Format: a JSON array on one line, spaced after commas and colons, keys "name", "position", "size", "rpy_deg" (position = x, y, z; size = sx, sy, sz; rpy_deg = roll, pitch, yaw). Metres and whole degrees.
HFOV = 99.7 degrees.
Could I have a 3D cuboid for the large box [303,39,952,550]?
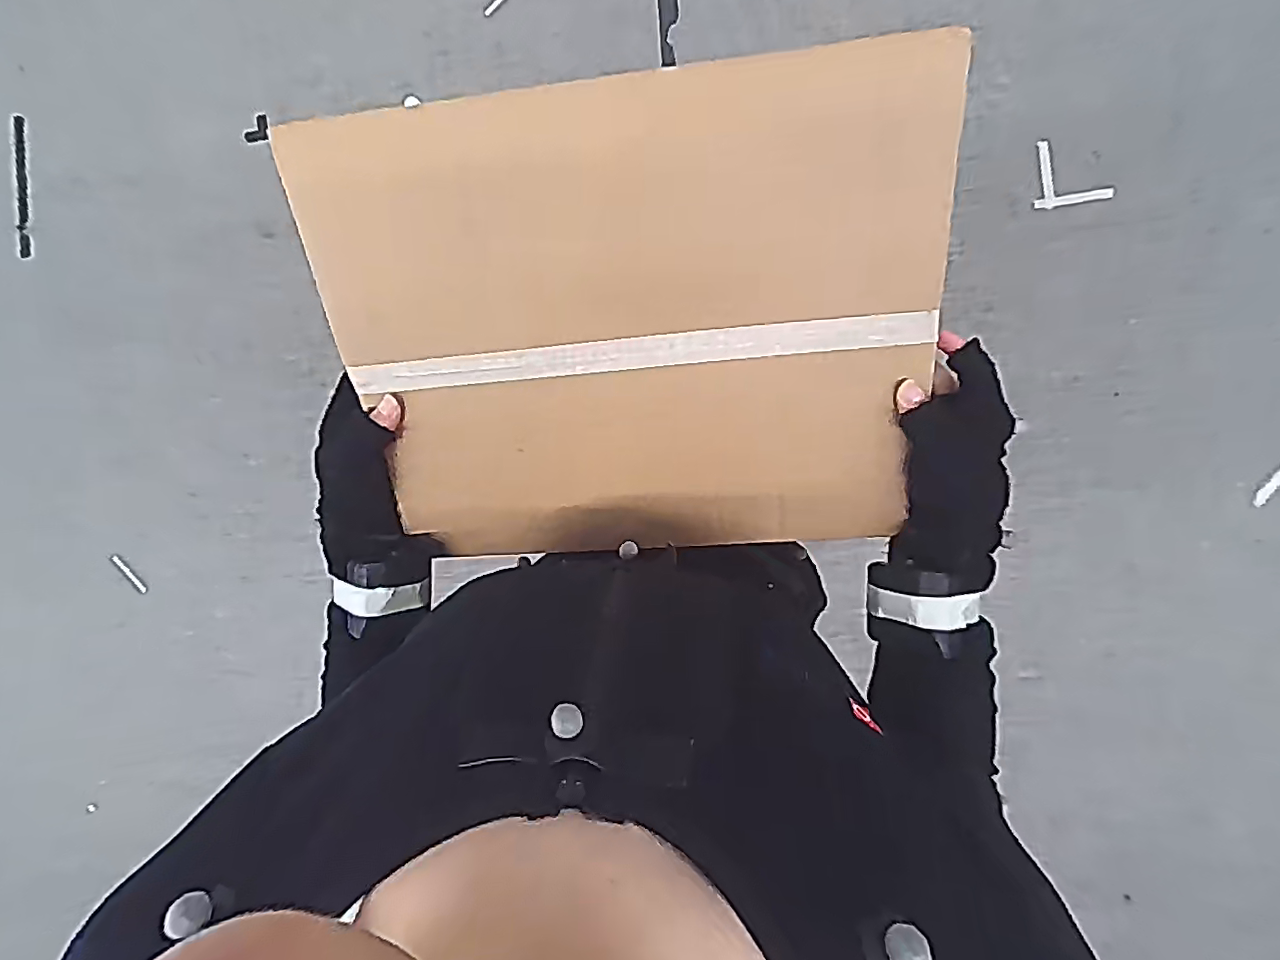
[{"name": "large box", "position": [0.004, -0.153, 0.517], "size": [0.408, 0.320, 0.320], "rpy_deg": [-4, 116, 7]}]
